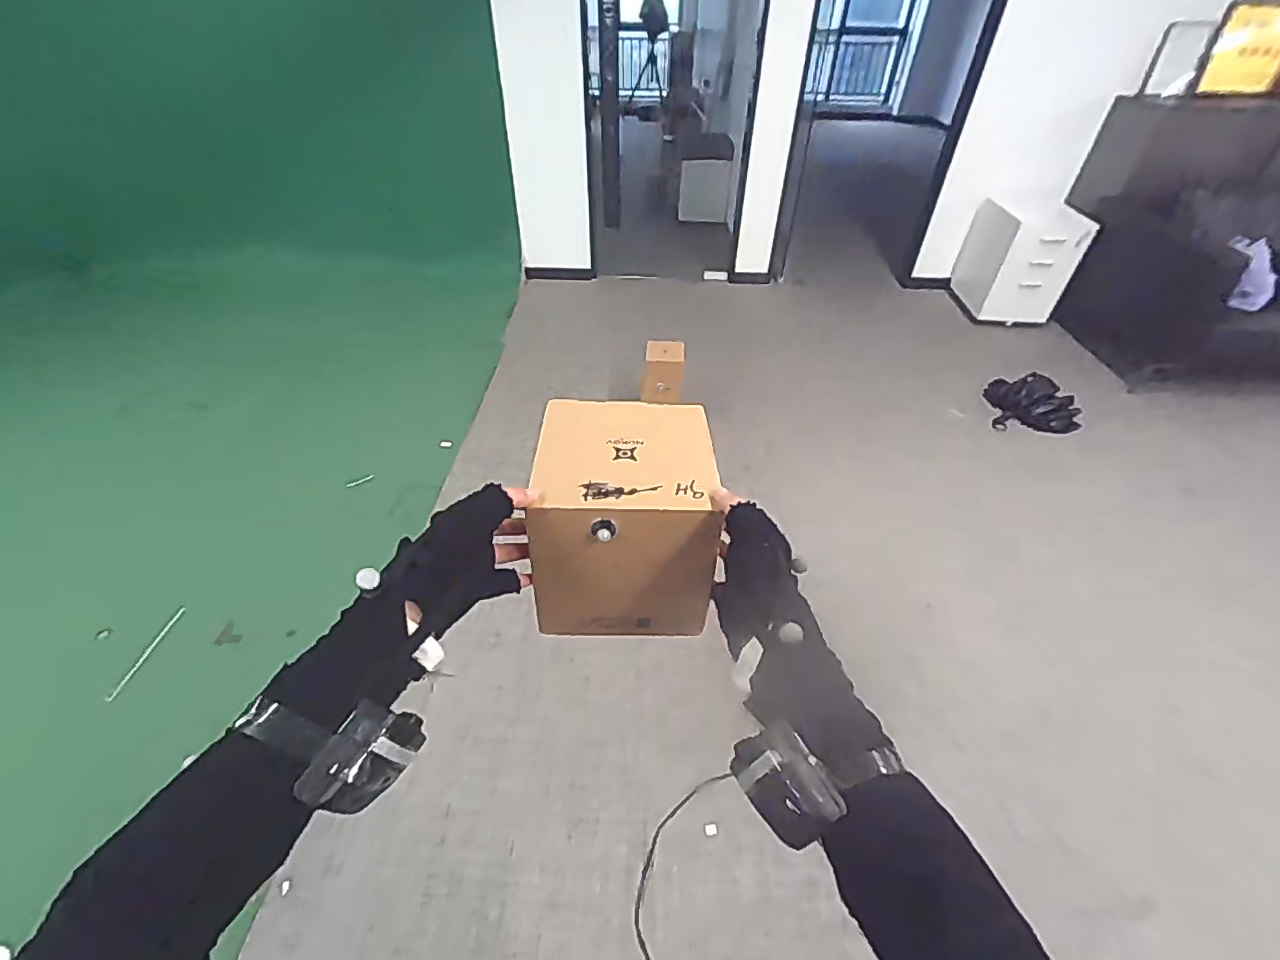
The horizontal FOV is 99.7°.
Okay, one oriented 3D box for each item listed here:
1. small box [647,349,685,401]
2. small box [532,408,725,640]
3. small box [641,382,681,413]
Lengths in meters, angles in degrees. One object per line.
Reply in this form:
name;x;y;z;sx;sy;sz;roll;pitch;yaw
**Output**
small box;0.116;-0.469;2.424;0.168;0.176;0.179;1;42;3
small box;-0.013;0.041;0.563;0.168;0.176;0.179;1;36;-2
small box;0.099;-0.343;2.524;0.179;0.176;0.168;2;41;3
